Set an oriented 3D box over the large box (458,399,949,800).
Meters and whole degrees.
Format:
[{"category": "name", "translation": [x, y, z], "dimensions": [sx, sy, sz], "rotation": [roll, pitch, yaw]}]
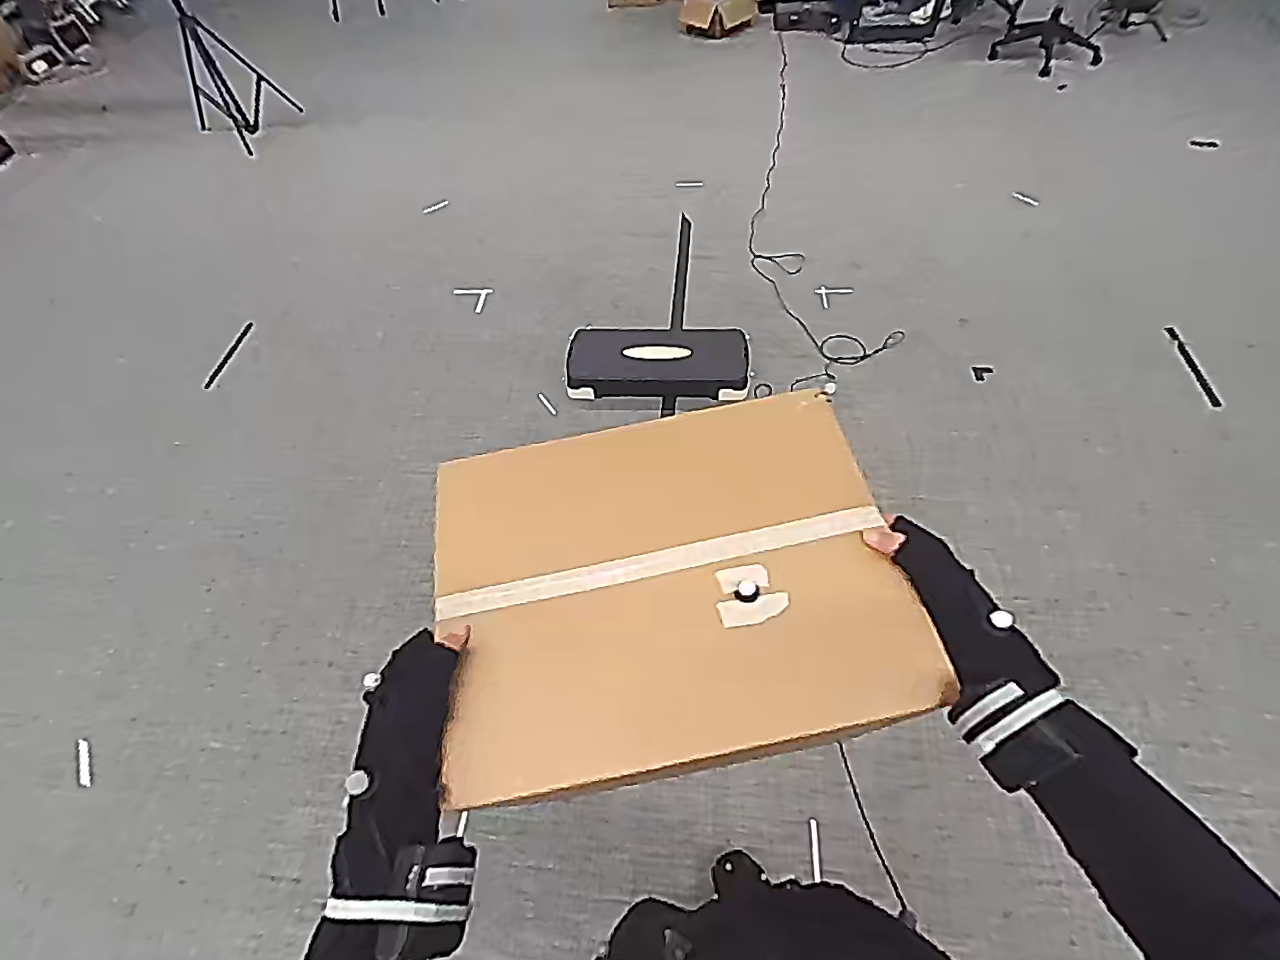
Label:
[{"category": "large box", "translation": [0.039, 0.155, 0.627], "dimensions": [0.408, 0.320, 0.320], "rotation": [-11, 59, -1]}]
